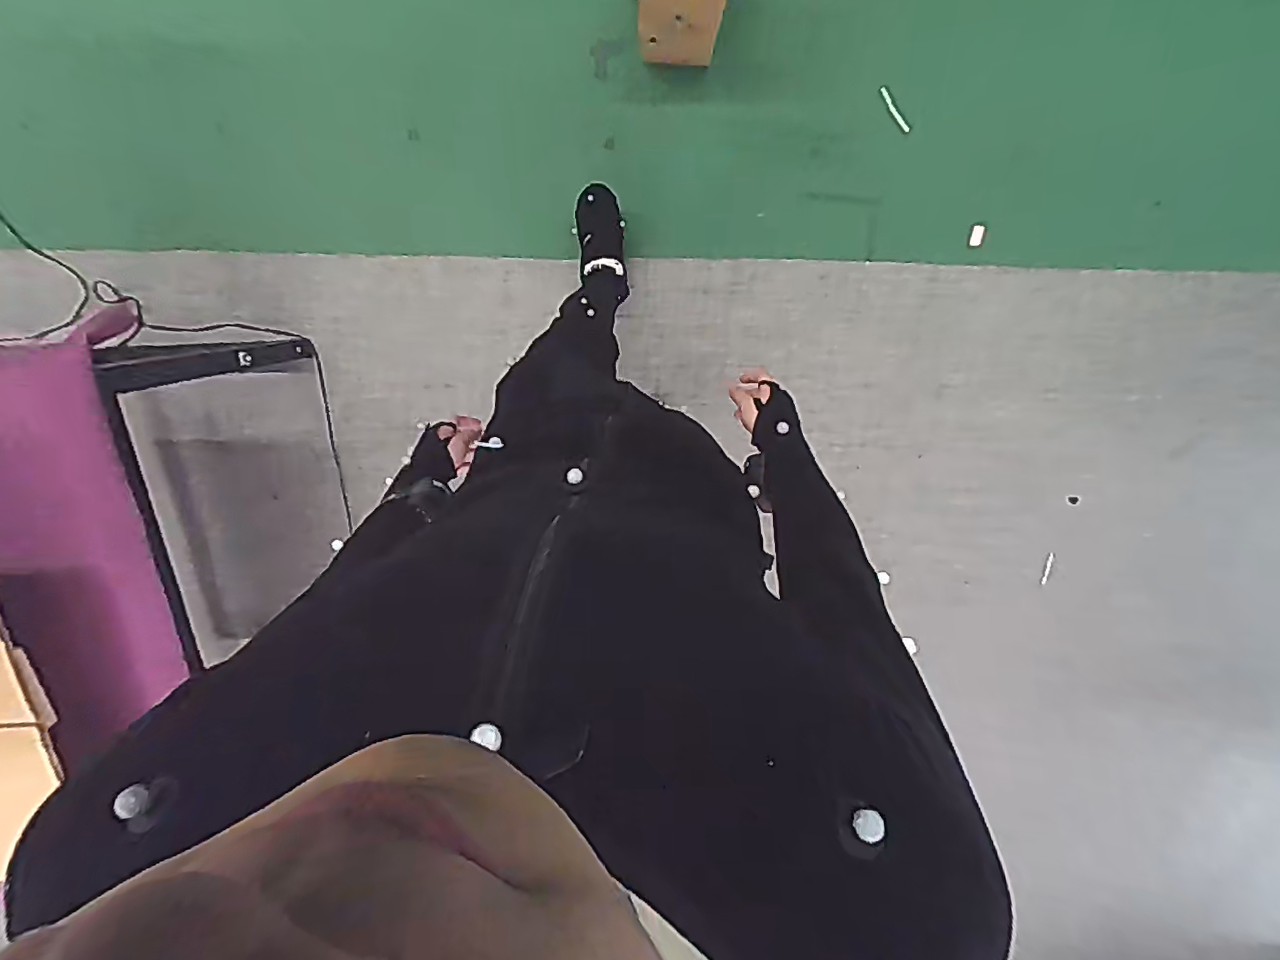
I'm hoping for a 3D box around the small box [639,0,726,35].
[{"bbox_3d":[0.084,-0.995,1.027,0.168,0.176,0.179,3,109,0],"label":"small box"}]
